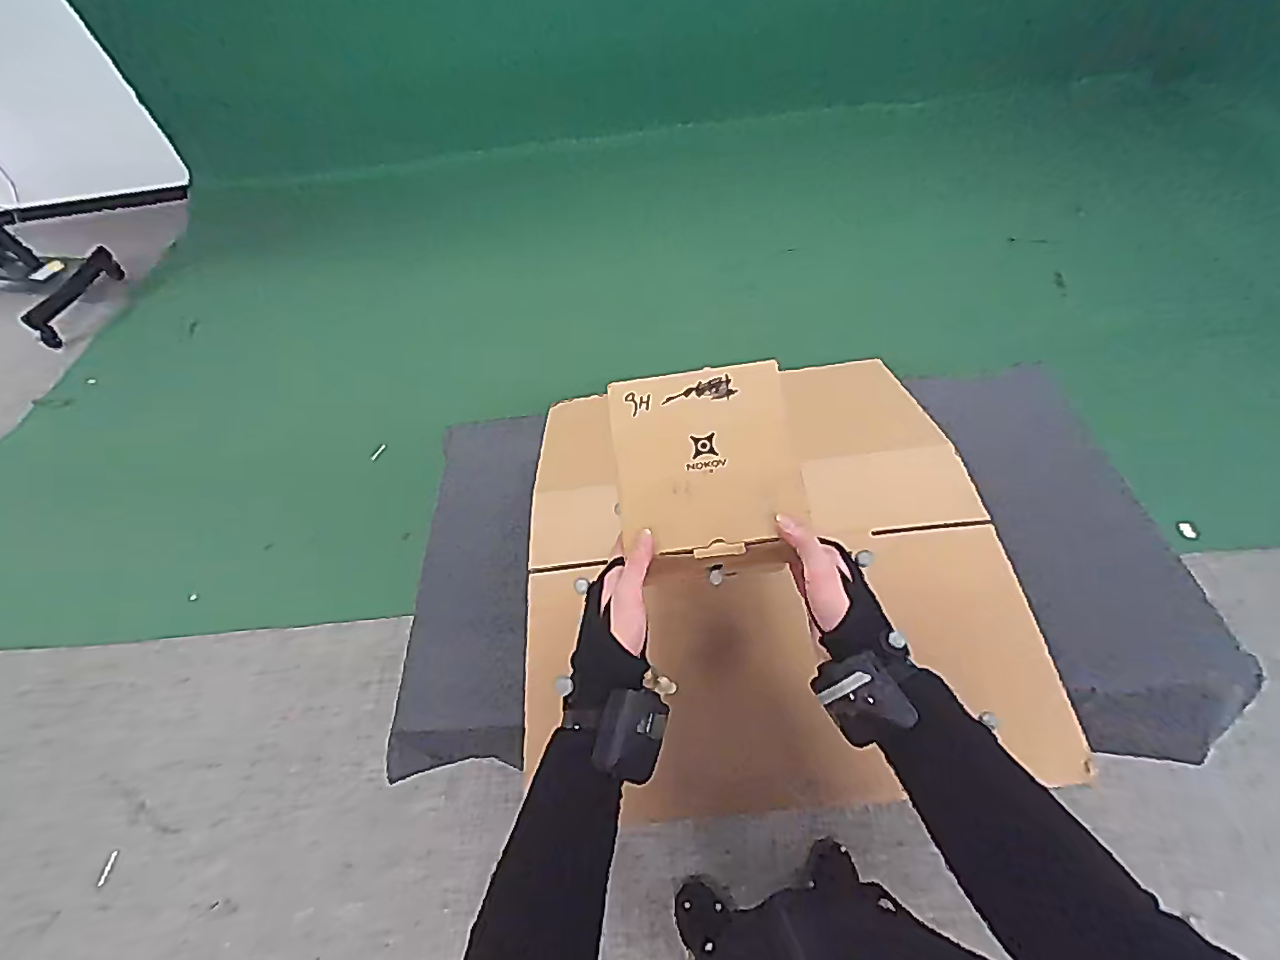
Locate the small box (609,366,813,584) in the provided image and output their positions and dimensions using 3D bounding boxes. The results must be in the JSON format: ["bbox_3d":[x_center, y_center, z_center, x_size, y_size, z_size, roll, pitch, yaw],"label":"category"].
[{"bbox_3d":[0.069,0.008,0.574,0.168,0.176,0.179,-10,70,3],"label":"small box"}]
